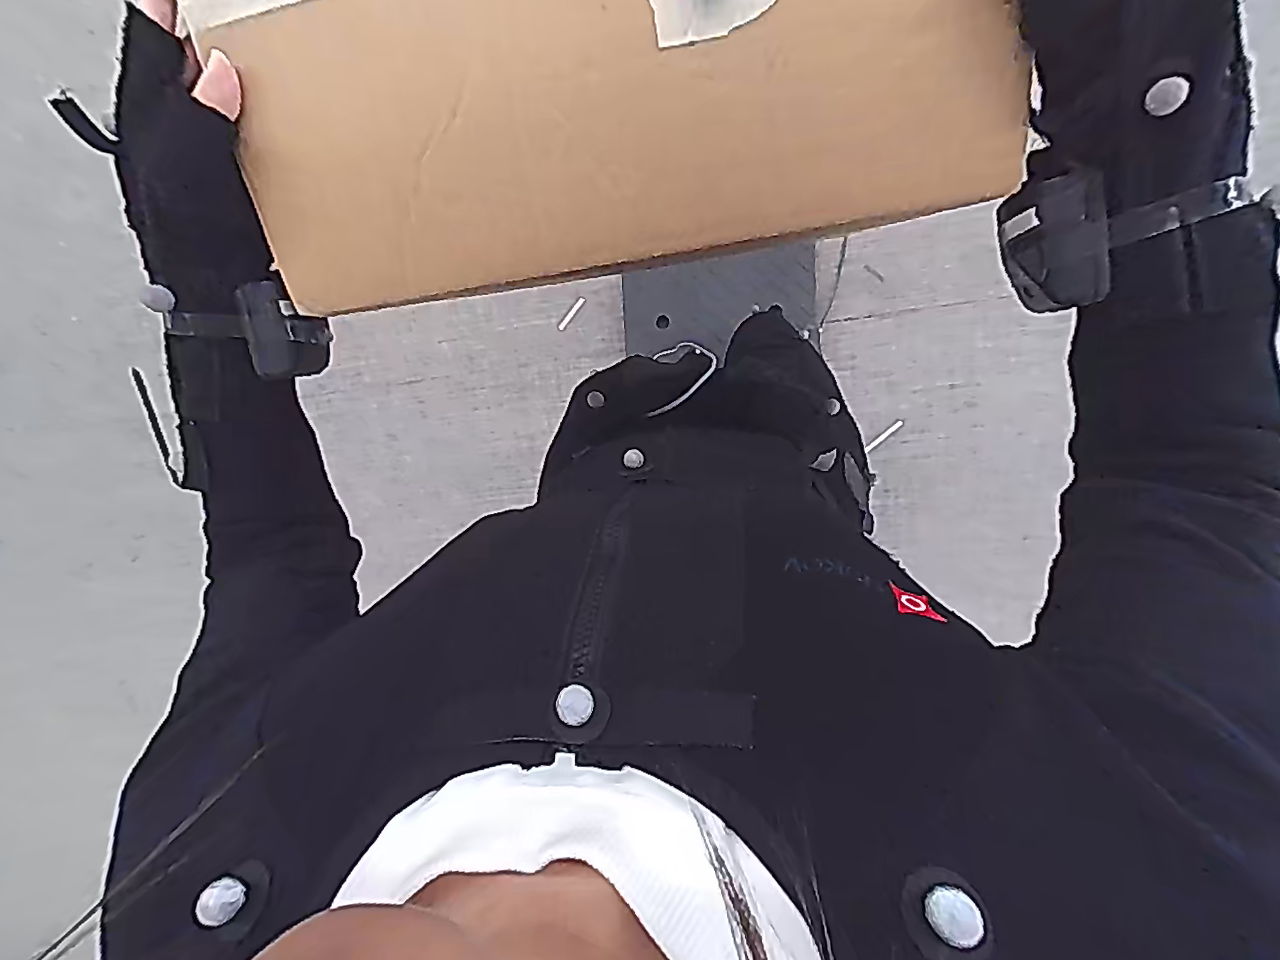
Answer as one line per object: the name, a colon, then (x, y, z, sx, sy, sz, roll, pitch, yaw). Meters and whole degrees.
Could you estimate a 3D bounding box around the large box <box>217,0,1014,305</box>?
large box: (-0.016, -0.329, 0.394, 0.408, 0.320, 0.320, -6, 111, 10)
